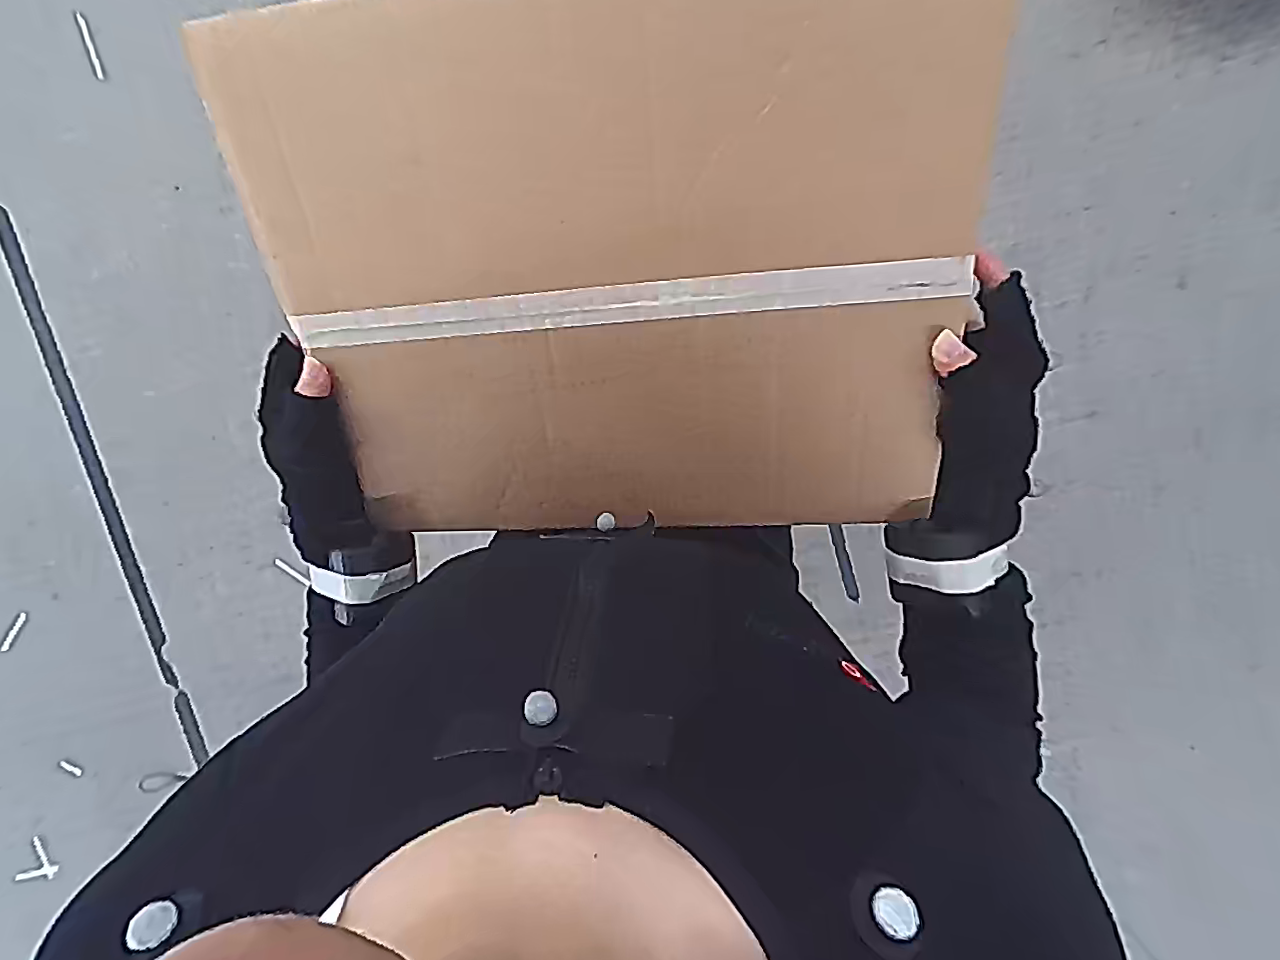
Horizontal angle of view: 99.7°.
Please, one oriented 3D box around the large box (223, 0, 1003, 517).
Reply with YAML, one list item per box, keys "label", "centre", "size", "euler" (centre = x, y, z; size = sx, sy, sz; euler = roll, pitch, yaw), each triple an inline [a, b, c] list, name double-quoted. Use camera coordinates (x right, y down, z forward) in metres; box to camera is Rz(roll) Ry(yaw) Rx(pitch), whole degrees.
- label: "large box"
  centre: [-0.003, -0.183, 0.462]
  size: [0.408, 0.320, 0.320]
  euler: [-1, 120, 8]
